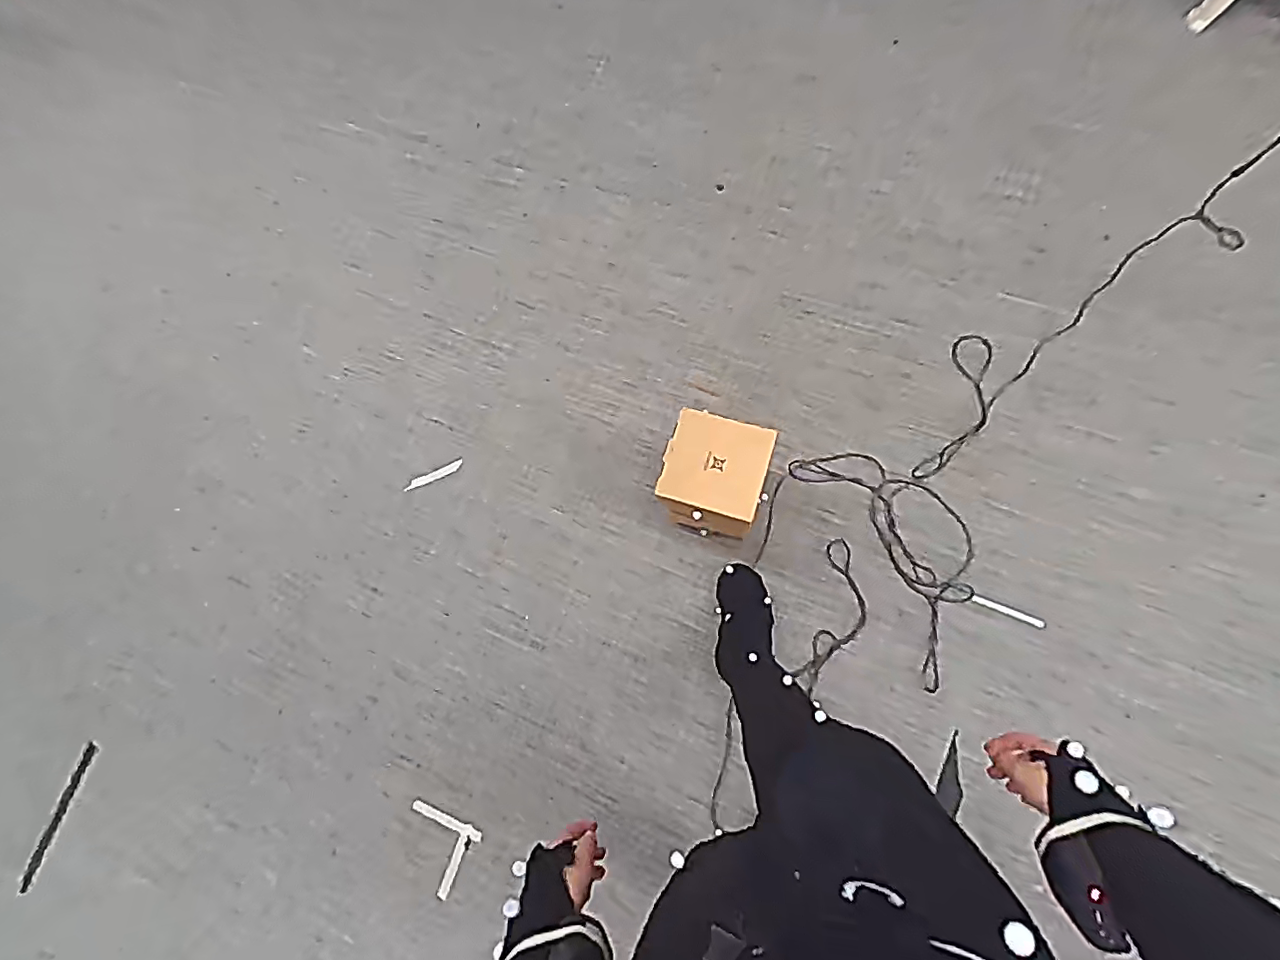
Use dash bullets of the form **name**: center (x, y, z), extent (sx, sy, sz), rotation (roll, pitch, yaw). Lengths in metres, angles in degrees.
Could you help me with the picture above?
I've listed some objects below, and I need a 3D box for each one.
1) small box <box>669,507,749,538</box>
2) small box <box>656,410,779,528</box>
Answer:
- **small box**: center (0.170, 0.018, 1.162), extent (0.168, 0.176, 0.179), rotation (14, 82, 13)
- **small box**: center (0.146, -0.012, 1.005), extent (0.179, 0.176, 0.168), rotation (16, 83, 13)
